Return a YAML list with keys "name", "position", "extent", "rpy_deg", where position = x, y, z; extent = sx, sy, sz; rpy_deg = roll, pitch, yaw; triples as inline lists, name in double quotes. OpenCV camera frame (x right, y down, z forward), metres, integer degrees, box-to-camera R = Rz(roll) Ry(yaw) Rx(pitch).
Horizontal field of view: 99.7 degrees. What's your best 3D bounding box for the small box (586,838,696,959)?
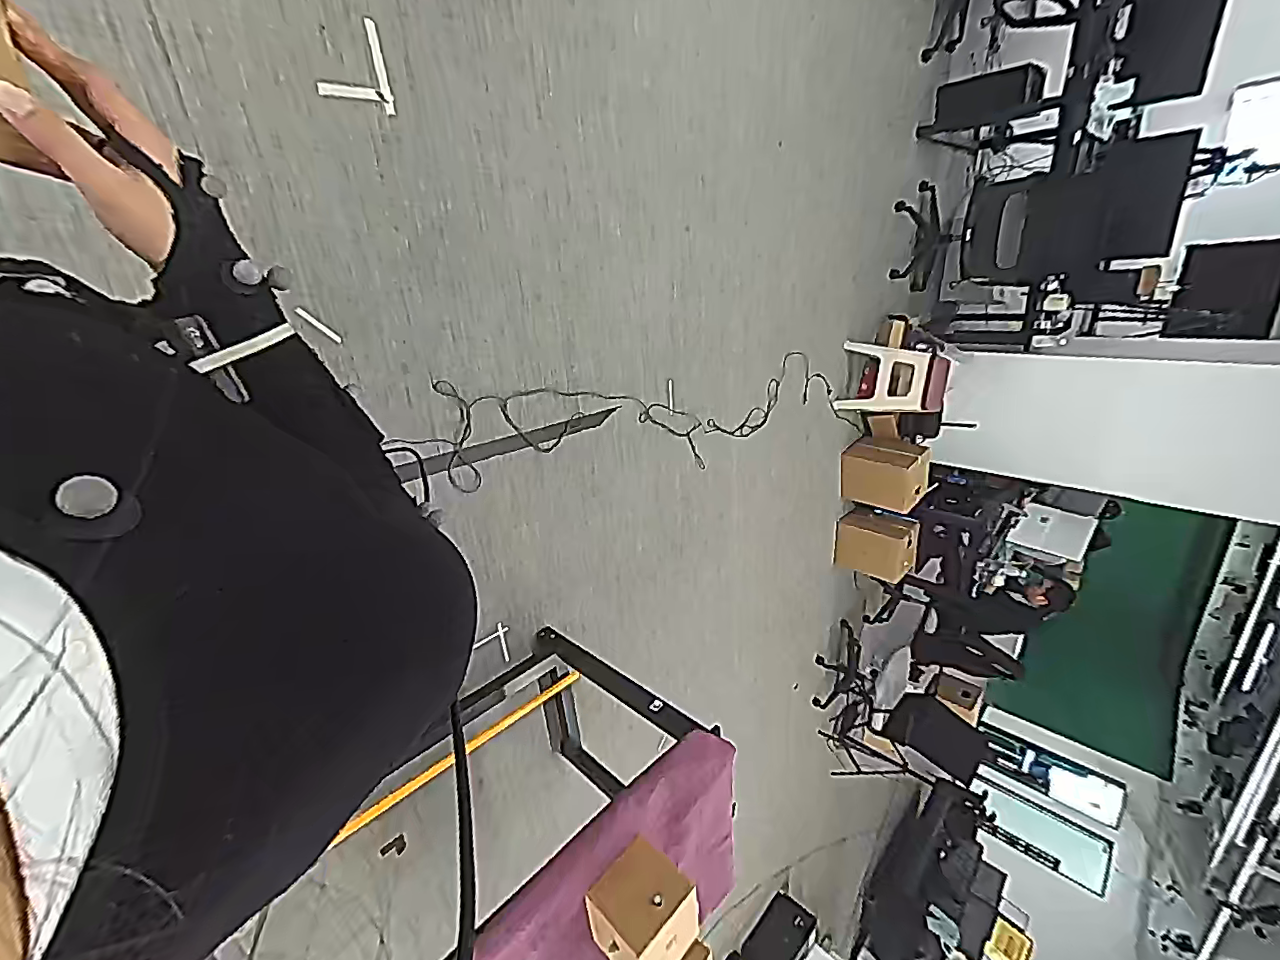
- name: "small box"
  position: [-0.001, 0.933, 1.160]
  extent: [0.179, 0.176, 0.168]
  rpy_deg: [-25, 120, -40]
